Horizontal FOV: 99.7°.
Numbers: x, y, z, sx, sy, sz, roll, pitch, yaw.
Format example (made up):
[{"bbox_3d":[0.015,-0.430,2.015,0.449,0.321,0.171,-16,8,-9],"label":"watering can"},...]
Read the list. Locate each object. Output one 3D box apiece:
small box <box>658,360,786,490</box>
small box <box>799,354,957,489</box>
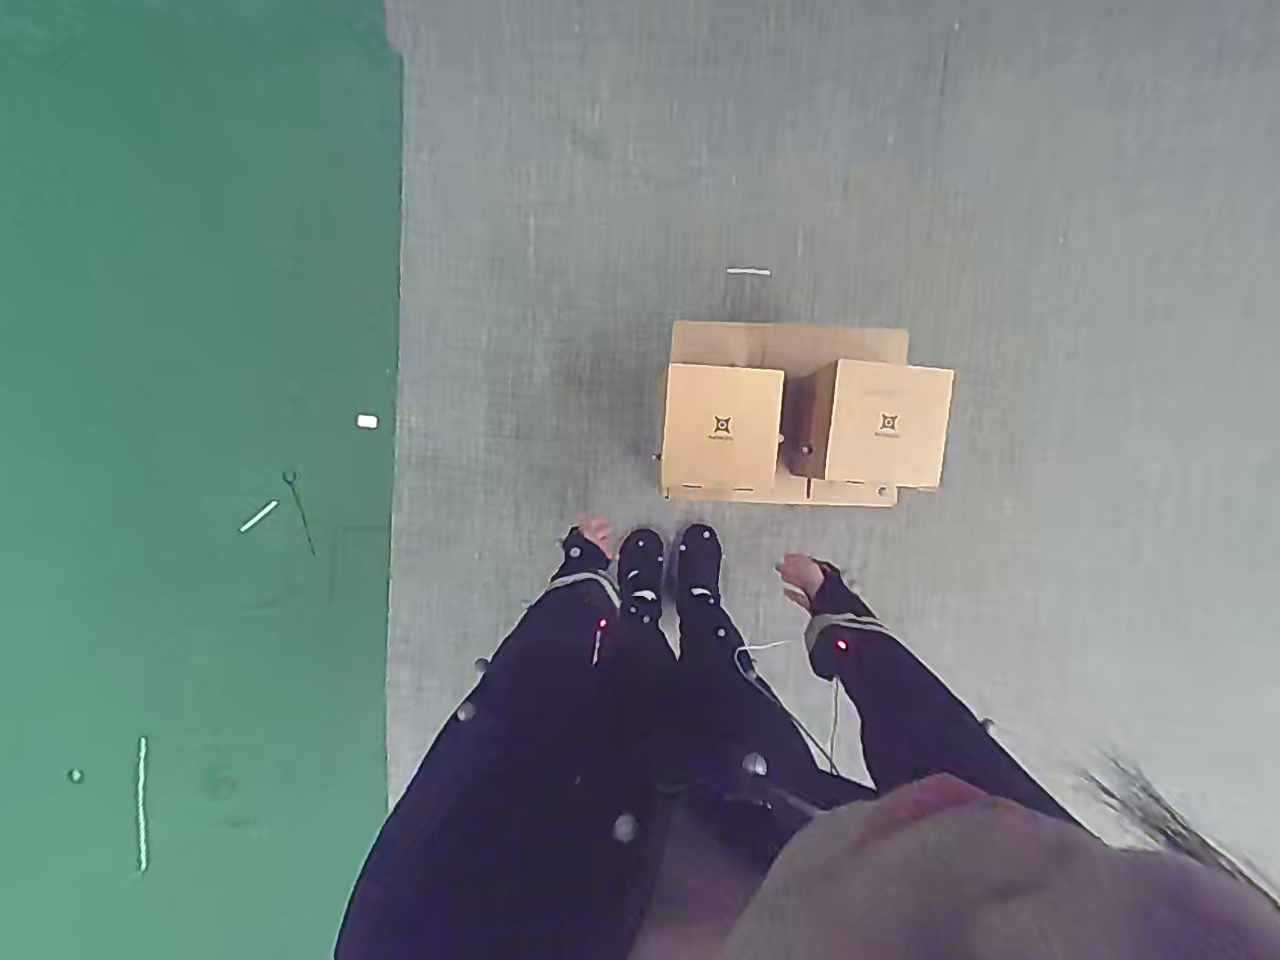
[{"bbox_3d":[0.116,-0.083,0.839,0.168,0.176,0.179,3,95,-2],"label":"small box"},{"bbox_3d":[0.354,-0.085,0.837,0.168,0.176,0.179,6,92,1],"label":"small box"}]
